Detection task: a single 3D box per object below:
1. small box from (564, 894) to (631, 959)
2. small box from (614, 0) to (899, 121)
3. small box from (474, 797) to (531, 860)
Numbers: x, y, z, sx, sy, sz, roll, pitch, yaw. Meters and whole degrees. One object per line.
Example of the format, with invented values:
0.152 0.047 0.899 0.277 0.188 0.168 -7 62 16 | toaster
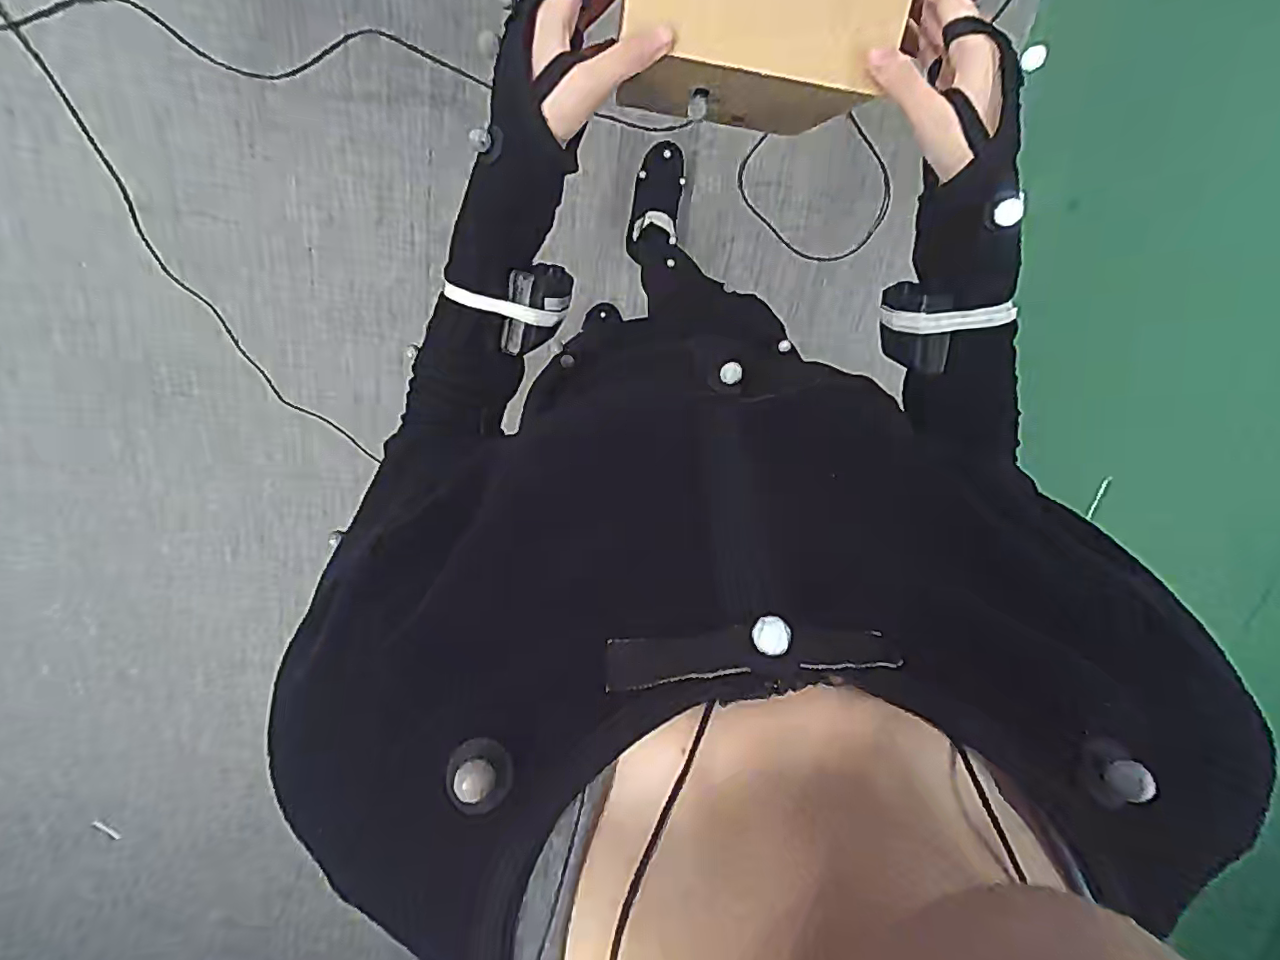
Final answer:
-0.133 1.378 1.612 0.179 0.176 0.168 5 110 -10 | small box
0.075 -0.365 0.362 0.168 0.176 0.179 6 113 -7 | small box
-0.478 1.239 1.867 0.168 0.176 0.179 15 107 -13 | small box
